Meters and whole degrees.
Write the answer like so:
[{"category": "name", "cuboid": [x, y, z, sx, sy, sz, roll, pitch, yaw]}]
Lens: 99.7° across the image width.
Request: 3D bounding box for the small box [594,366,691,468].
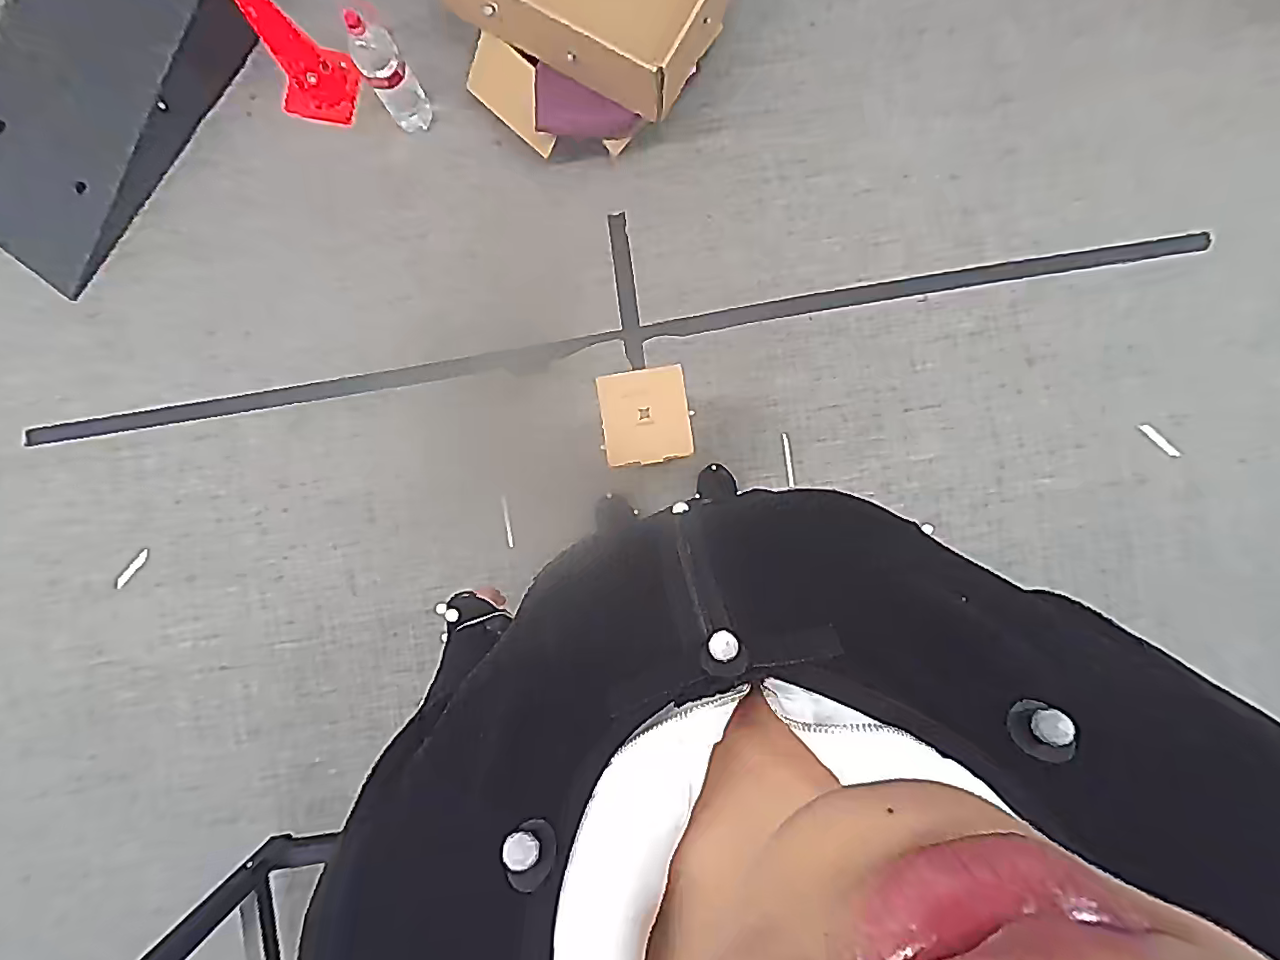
[{"category": "small box", "cuboid": [0.006, -0.121, 1.100, 0.168, 0.176, 0.179, -9, 90, 0]}]
